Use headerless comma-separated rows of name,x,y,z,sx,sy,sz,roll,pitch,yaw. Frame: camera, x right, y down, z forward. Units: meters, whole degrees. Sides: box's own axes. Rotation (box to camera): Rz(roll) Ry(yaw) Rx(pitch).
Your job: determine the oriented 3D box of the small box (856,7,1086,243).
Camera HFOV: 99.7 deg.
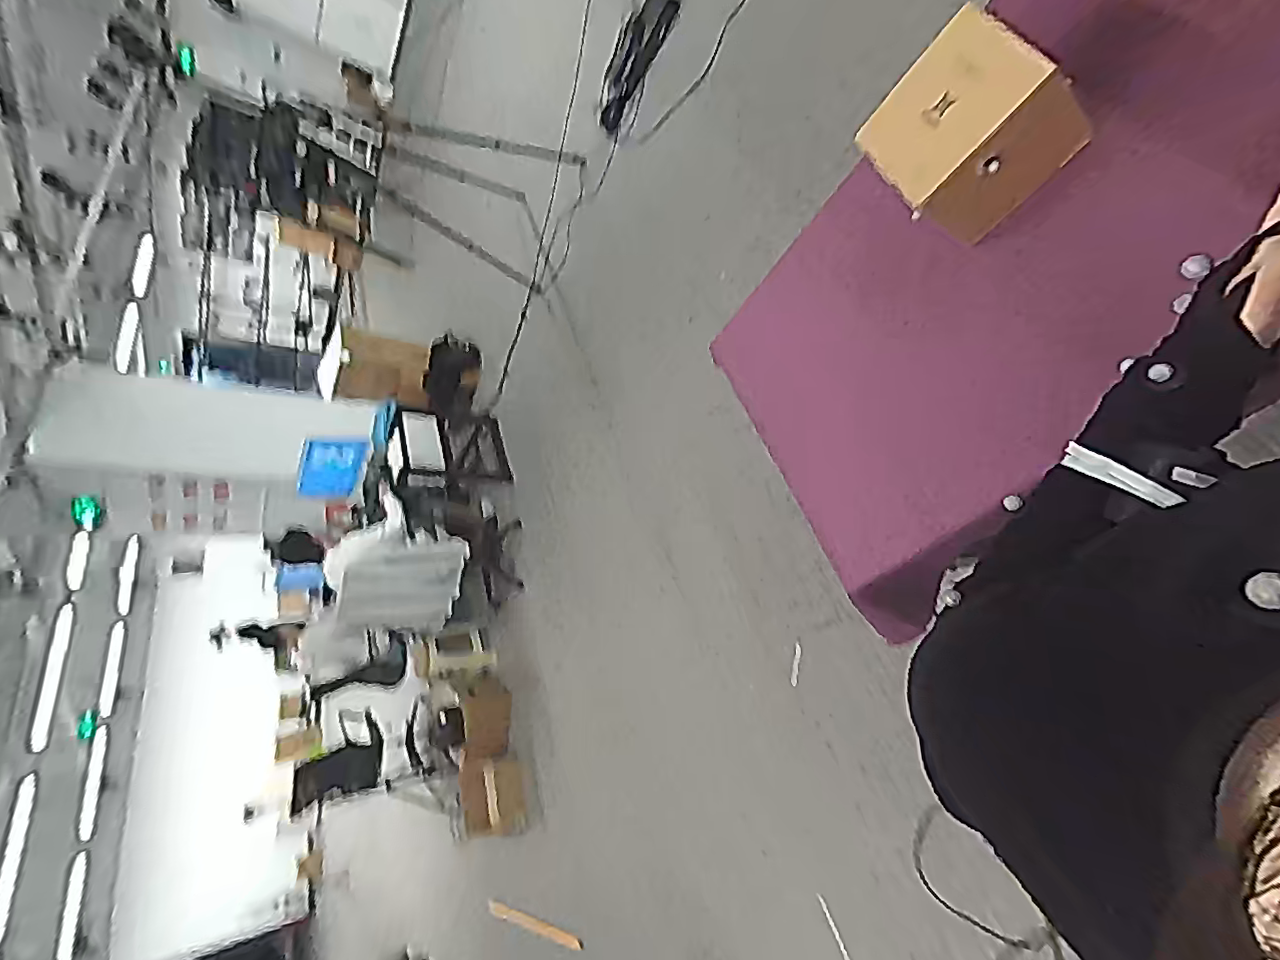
small box,0.437,-0.455,0.722,0.179,0.176,0.168,-44,54,40
